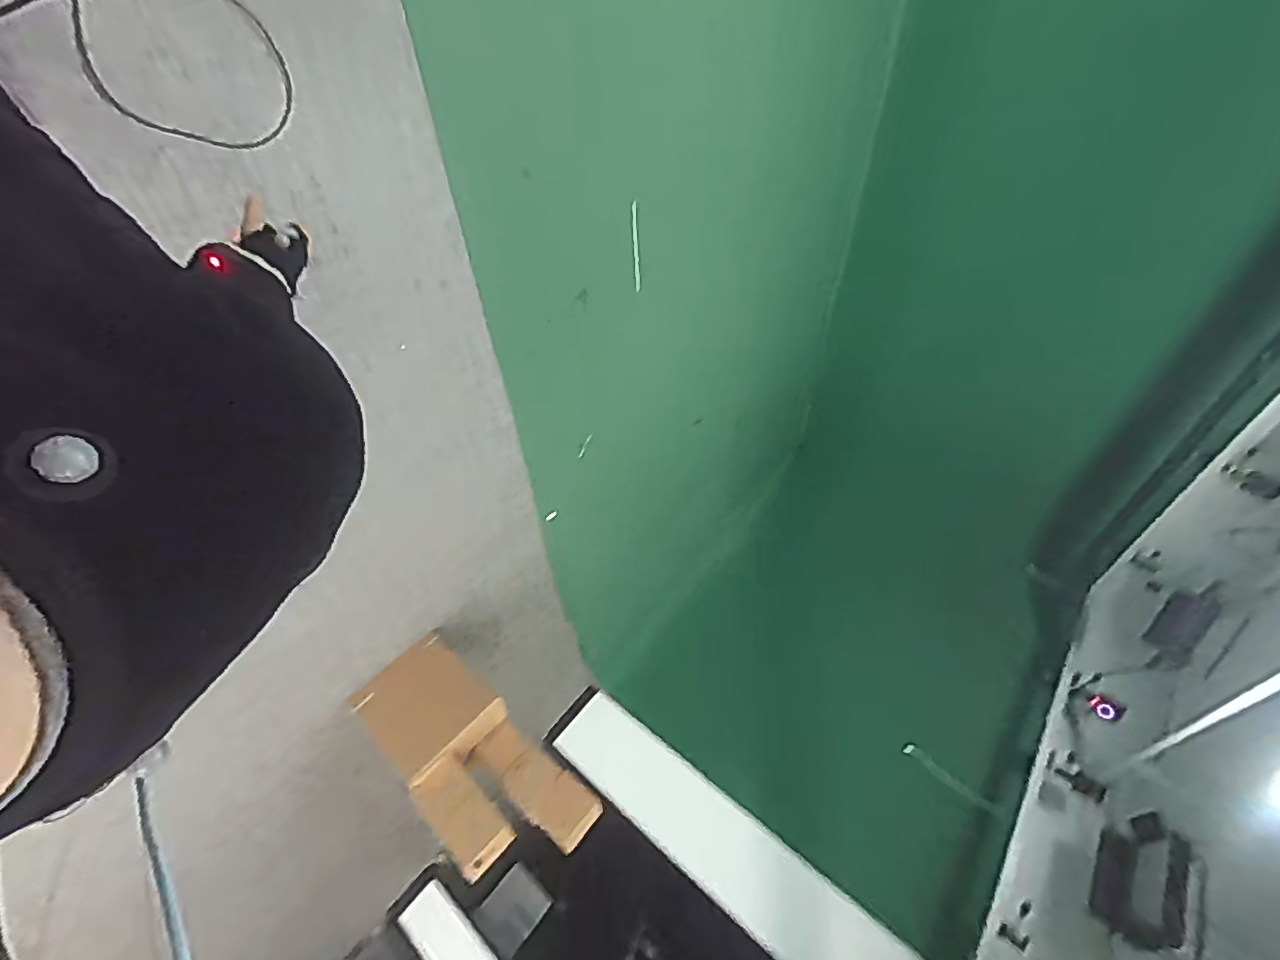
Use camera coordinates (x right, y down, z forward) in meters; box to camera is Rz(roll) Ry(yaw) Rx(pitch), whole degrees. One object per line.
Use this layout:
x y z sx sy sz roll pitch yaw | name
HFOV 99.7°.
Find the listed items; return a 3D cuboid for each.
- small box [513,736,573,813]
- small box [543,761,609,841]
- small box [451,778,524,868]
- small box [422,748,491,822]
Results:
-0.373 1.139 2.103 0.168 0.176 0.179 -38 143 -37 | small box
-0.239 1.199 2.029 0.179 0.176 0.168 -41 145 -32 | small box
-0.538 1.196 1.891 0.179 0.176 0.168 -38 143 -34 | small box
-0.659 1.122 1.973 0.179 0.176 0.168 -39 142 -34 | small box
